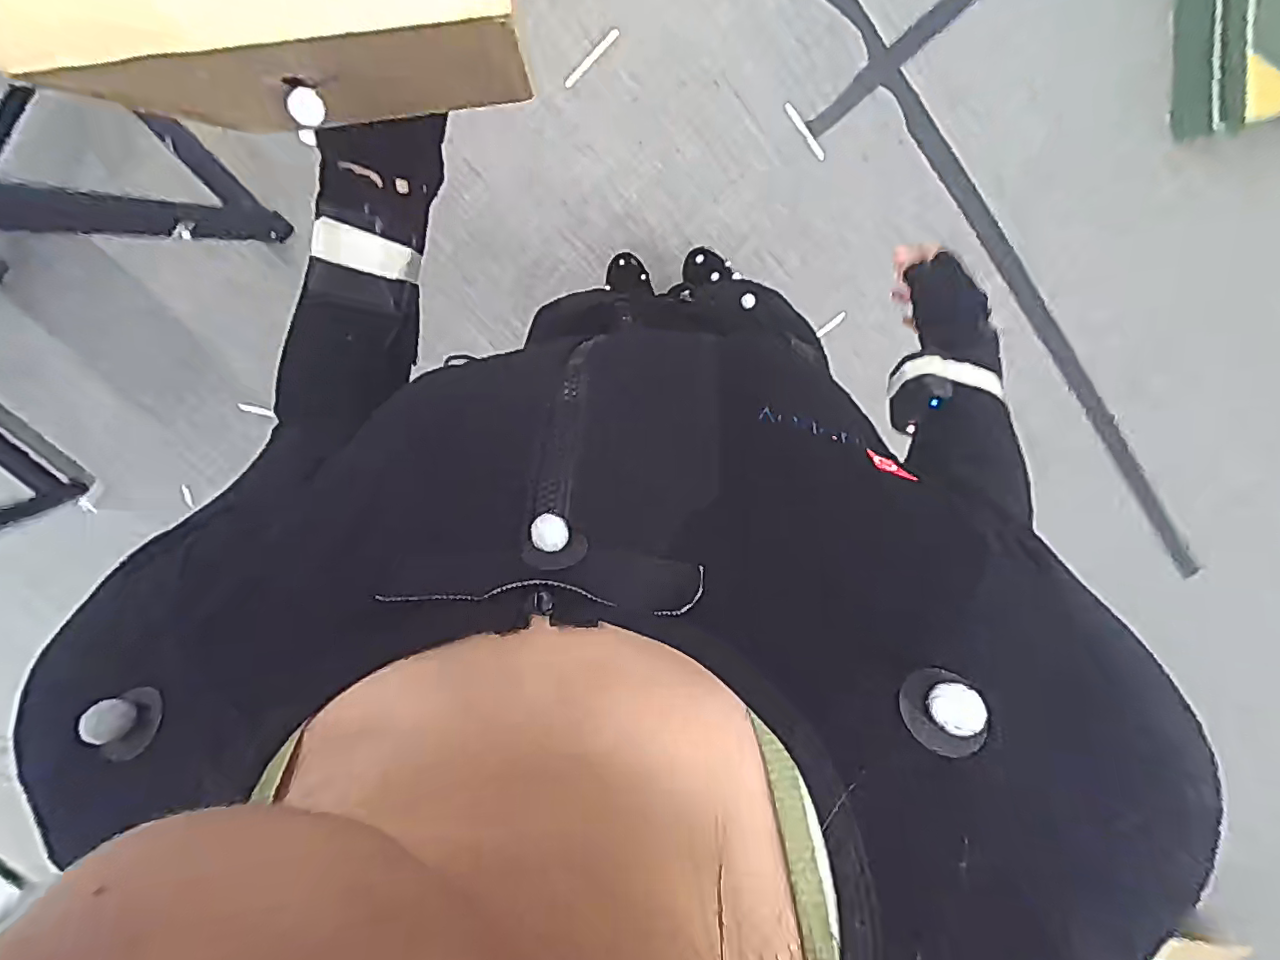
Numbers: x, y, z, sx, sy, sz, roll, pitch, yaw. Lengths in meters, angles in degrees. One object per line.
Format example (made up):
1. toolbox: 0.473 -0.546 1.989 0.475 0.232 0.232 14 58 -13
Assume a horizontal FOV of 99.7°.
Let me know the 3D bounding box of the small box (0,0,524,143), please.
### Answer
1. small box: -0.159 -0.257 0.224 0.179 0.176 0.168 -13 117 -1
